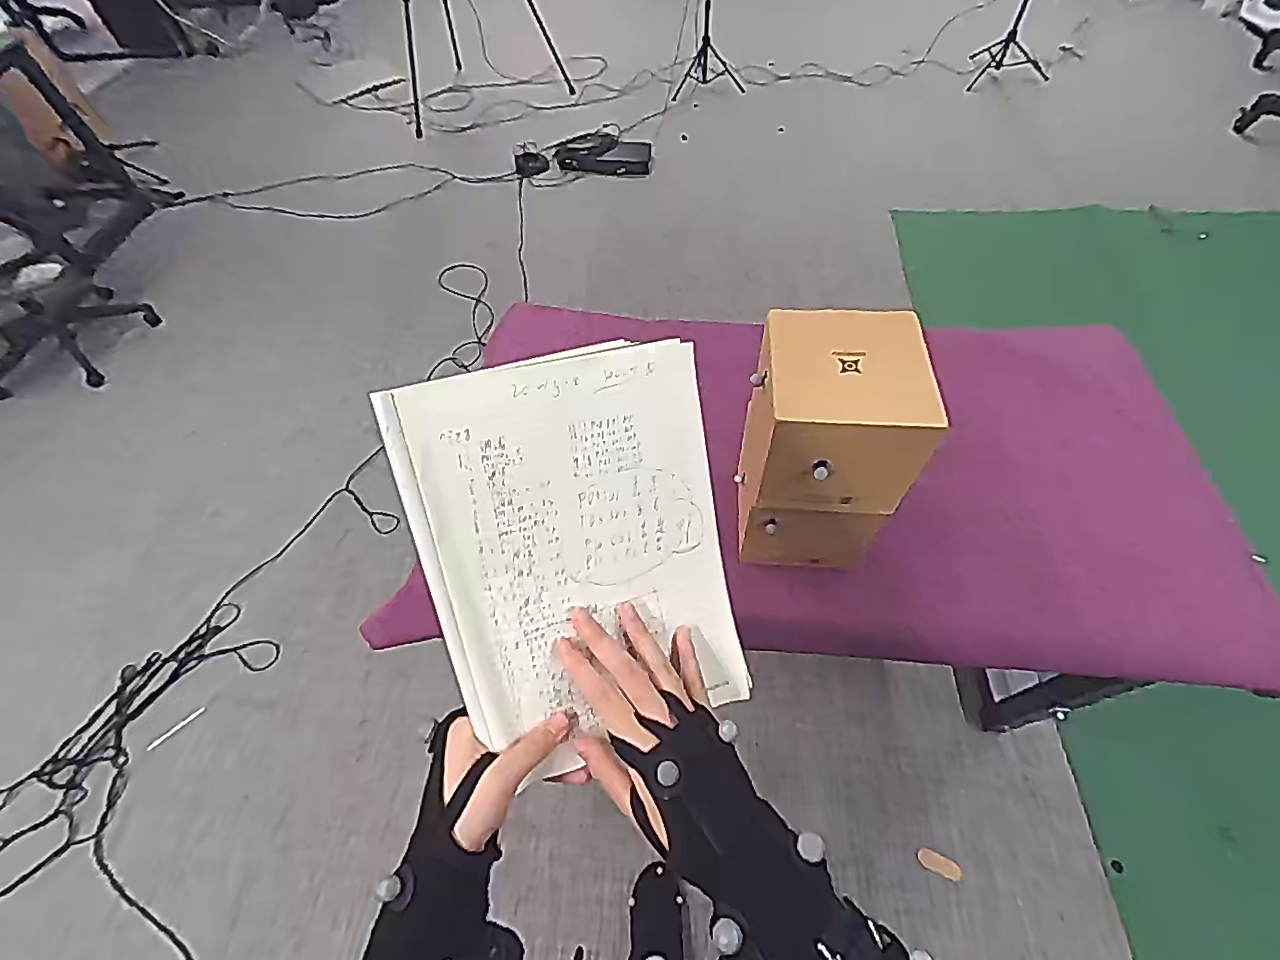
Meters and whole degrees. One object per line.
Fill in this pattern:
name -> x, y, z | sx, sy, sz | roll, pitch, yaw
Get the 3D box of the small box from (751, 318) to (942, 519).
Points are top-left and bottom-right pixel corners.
small box -> 0.225, -0.069, 0.641 | 0.168, 0.176, 0.179 | 3, 54, 5
